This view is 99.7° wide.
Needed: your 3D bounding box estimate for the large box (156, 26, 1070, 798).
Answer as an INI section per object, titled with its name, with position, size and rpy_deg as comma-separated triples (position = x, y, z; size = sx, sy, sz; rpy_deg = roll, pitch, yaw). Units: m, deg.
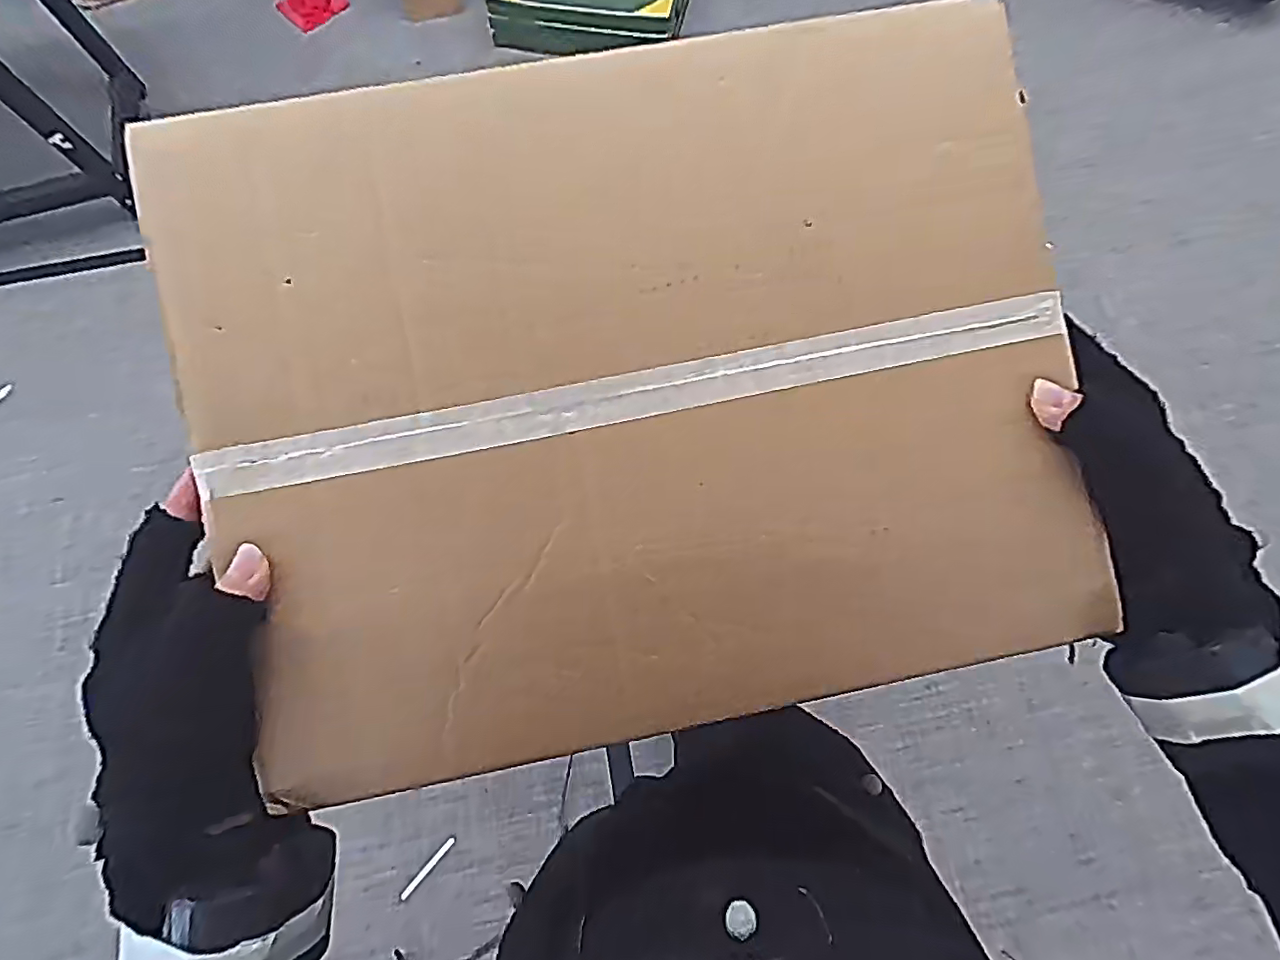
[large box]
position = -0.008, -0.040, 0.411
size = 0.408, 0.320, 0.320
rpy_deg = -11, 90, -3
